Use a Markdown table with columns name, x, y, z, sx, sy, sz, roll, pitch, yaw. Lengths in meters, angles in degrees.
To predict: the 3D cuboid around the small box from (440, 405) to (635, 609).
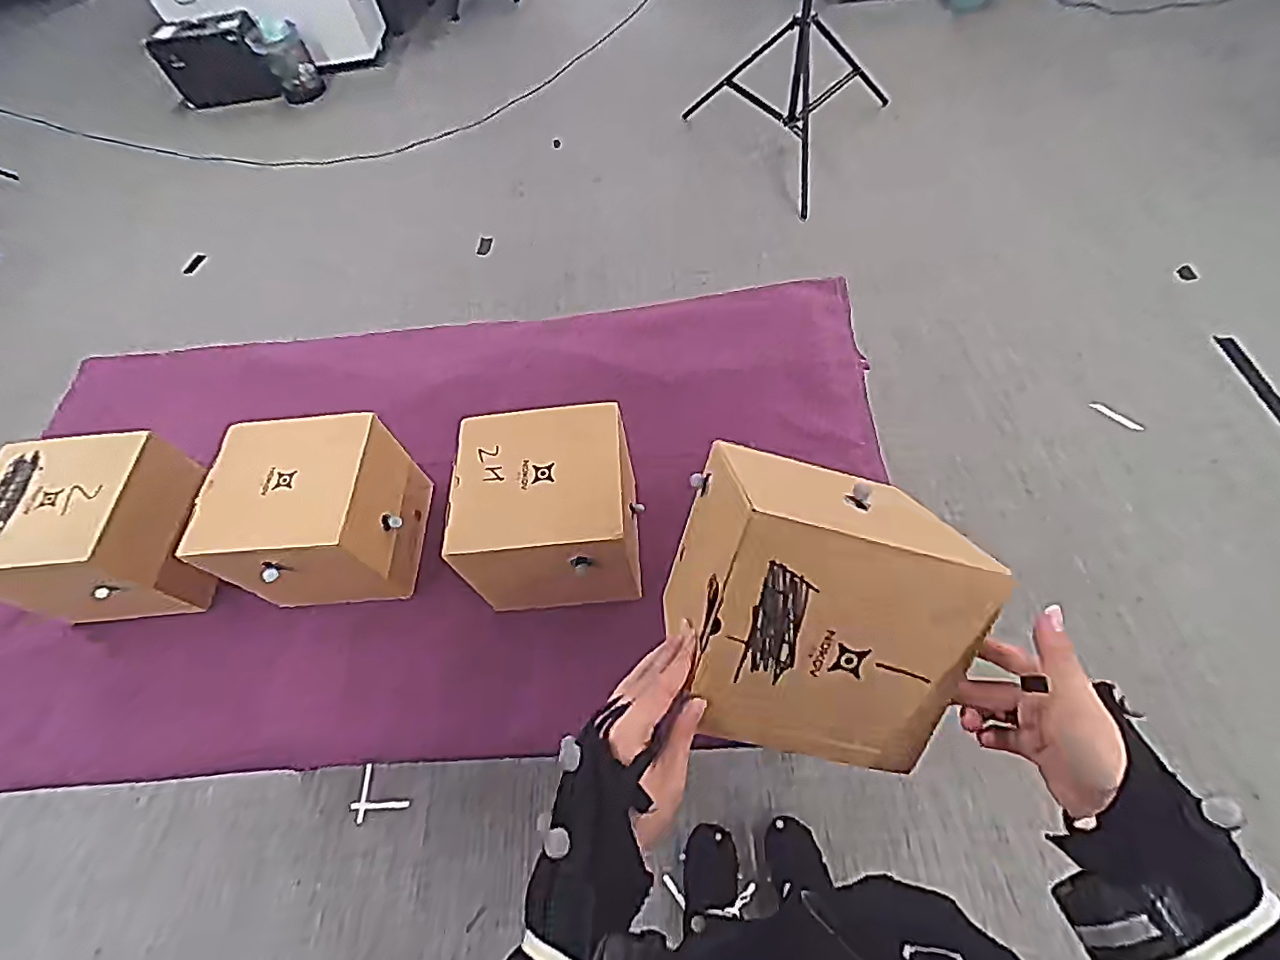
| name | x | y | z | sx | sy | sz | roll | pitch | yaw |
| --- | --- | --- | --- | --- | --- | --- | --- | --- | --- |
| small box | -0.098 | 0.038 | 0.612 | 0.179 | 0.176 | 0.168 | -6 | 57 | 4 |

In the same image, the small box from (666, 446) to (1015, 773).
| name | x | y | z | sx | sy | sz | roll | pitch | yaw |
| --- | --- | --- | --- | --- | --- | --- | --- | --- | --- |
| small box | 0.124 | 0.084 | 0.421 | 0.179 | 0.168 | 0.176 | 14 | 20 | -6 |

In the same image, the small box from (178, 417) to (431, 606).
| name | x | y | z | sx | sy | sz | roll | pitch | yaw |
| --- | --- | --- | --- | --- | --- | --- | --- | --- | --- |
| small box | -0.375 | 0.045 | 0.646 | 0.179 | 0.176 | 0.168 | -5 | 59 | 4 |
